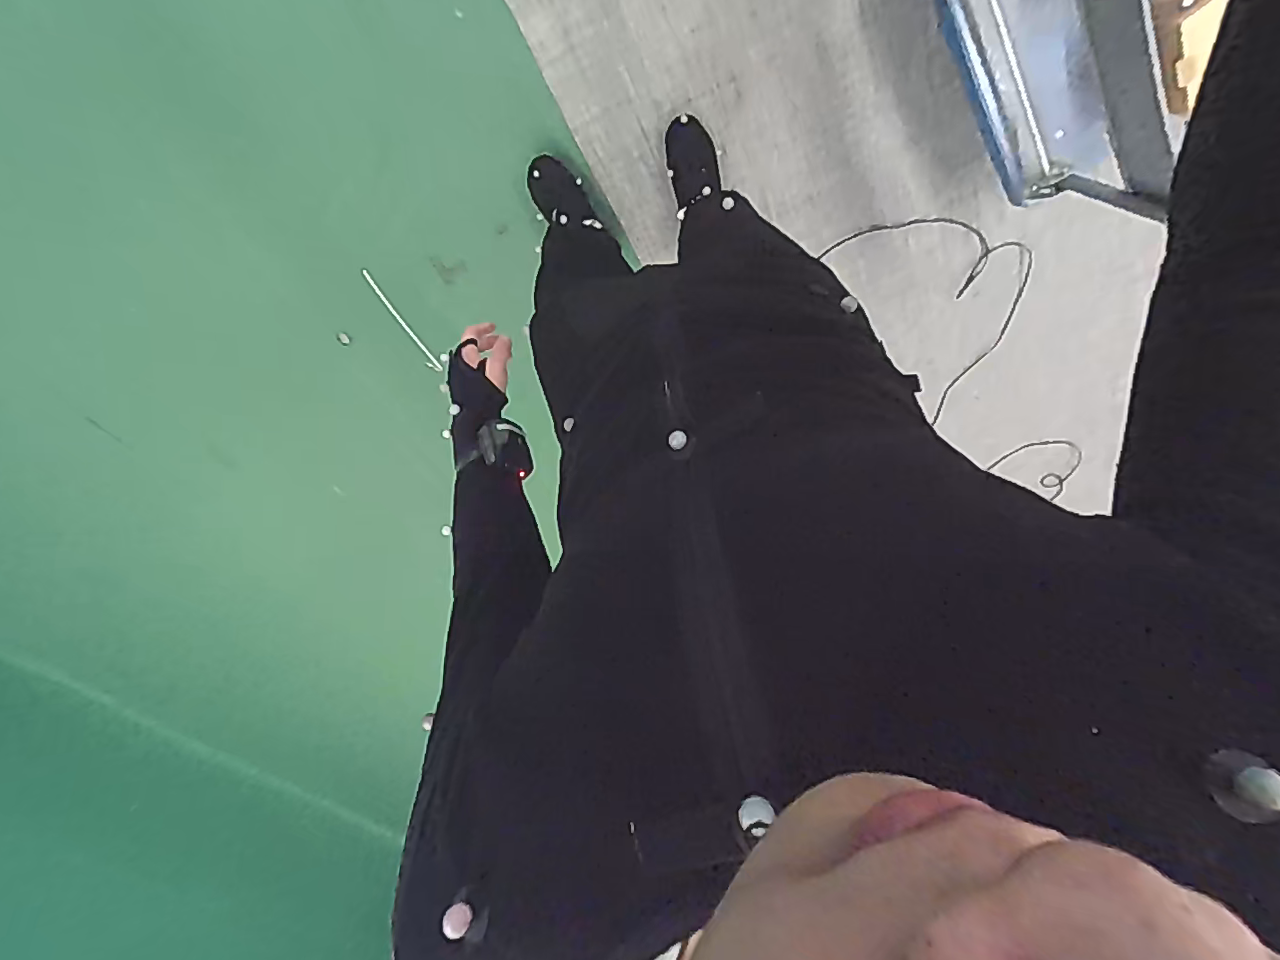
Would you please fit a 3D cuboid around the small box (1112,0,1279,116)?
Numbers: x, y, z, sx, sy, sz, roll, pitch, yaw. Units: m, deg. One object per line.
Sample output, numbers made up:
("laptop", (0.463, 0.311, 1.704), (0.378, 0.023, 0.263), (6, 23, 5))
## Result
("small box", (1.006, -0.793, 0.964), (0.179, 0.176, 0.168), (-32, 121, 22))
